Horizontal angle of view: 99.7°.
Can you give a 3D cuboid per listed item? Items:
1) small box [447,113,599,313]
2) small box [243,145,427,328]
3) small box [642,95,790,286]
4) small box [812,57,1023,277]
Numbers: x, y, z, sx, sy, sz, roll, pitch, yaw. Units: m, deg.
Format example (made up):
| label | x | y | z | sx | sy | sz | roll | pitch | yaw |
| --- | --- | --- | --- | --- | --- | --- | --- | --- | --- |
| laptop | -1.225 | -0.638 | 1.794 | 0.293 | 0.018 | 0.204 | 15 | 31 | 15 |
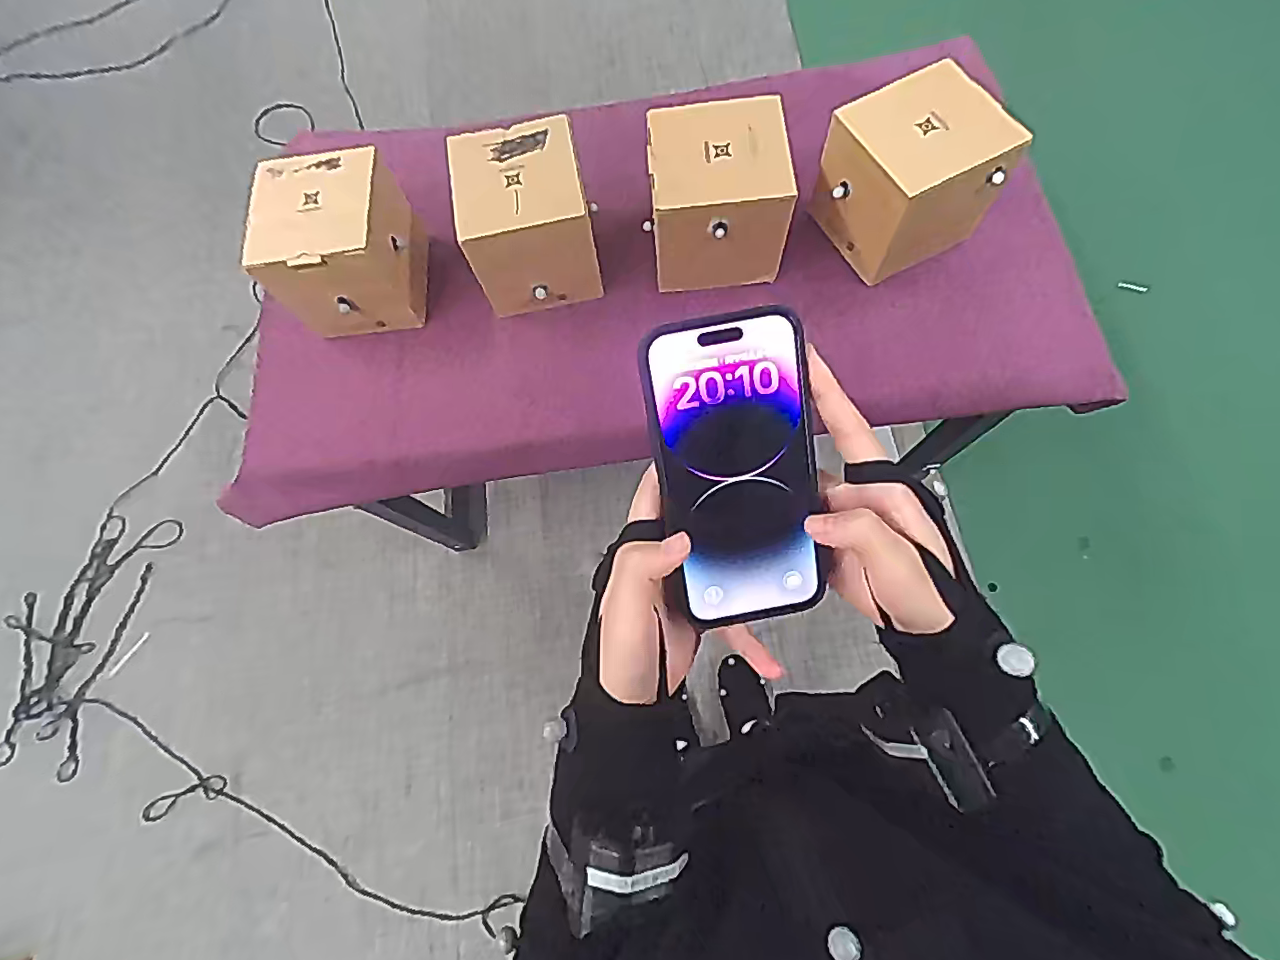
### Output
| label | x | y | z | sx | sy | sz | roll | pitch | yaw |
| --- | --- | --- | --- | --- | --- | --- | --- | --- | --- |
| small box | -0.159 | -0.370 | 0.771 | 0.168 | 0.176 | 0.179 | -11 | 73 | 1 |
| small box | -0.425 | -0.337 | 0.782 | 0.168 | 0.176 | 0.179 | -6 | 73 | 3 |
| small box | 0.100 | -0.392 | 0.758 | 0.179 | 0.176 | 0.168 | -4 | 73 | 3 |
| small box | 0.357 | -0.416 | 0.743 | 0.179 | 0.176 | 0.168 | -27 | 71 | -4 |
